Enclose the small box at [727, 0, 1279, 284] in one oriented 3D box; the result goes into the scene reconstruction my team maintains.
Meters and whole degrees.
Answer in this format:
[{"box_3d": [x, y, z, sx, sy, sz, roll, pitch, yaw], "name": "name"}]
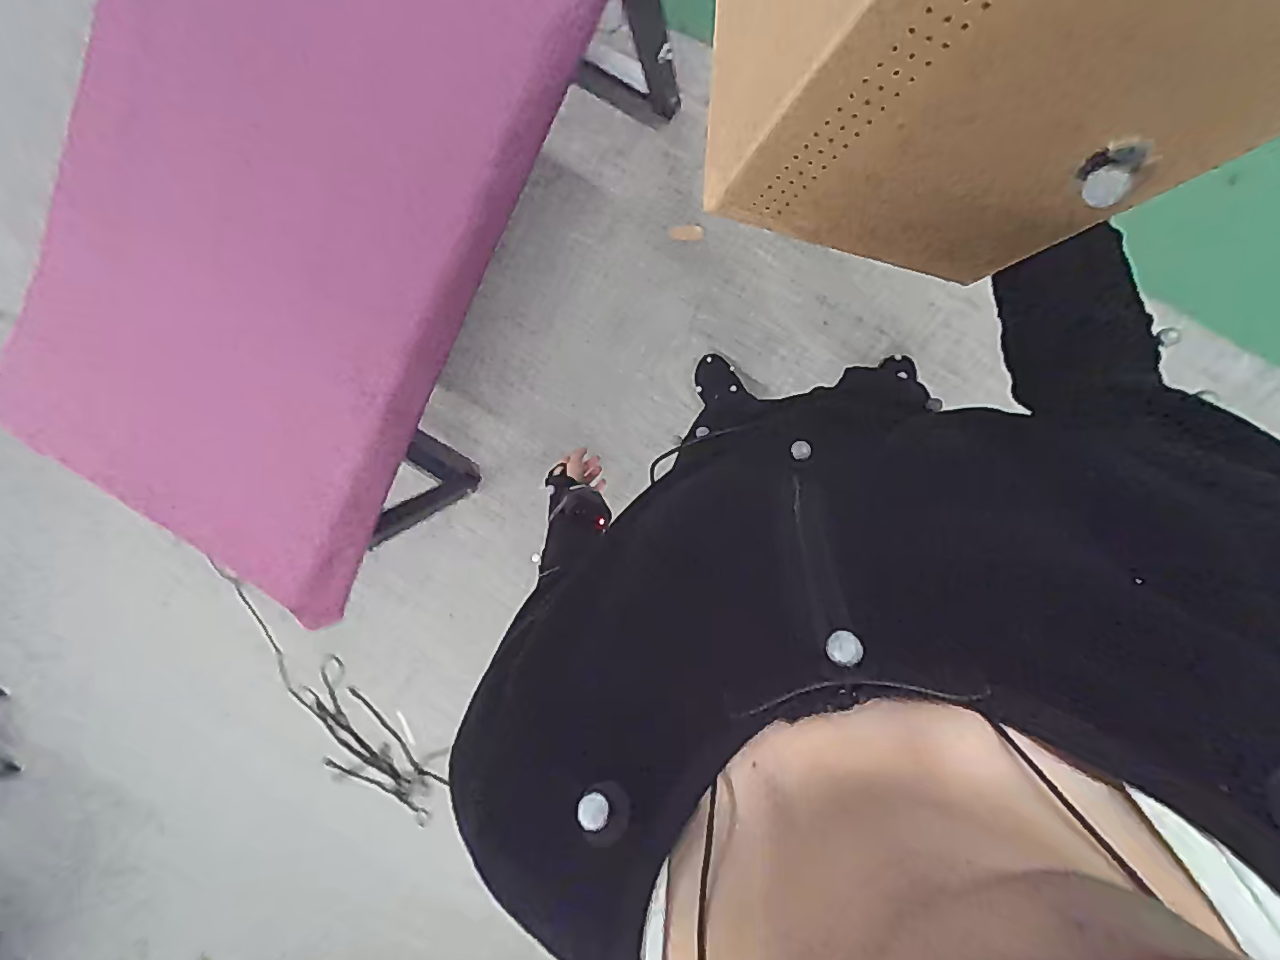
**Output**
[{"box_3d": [0.140, -0.201, 0.197, 0.176, 0.179, 0.168, 7, 84, -18], "name": "small box"}]
